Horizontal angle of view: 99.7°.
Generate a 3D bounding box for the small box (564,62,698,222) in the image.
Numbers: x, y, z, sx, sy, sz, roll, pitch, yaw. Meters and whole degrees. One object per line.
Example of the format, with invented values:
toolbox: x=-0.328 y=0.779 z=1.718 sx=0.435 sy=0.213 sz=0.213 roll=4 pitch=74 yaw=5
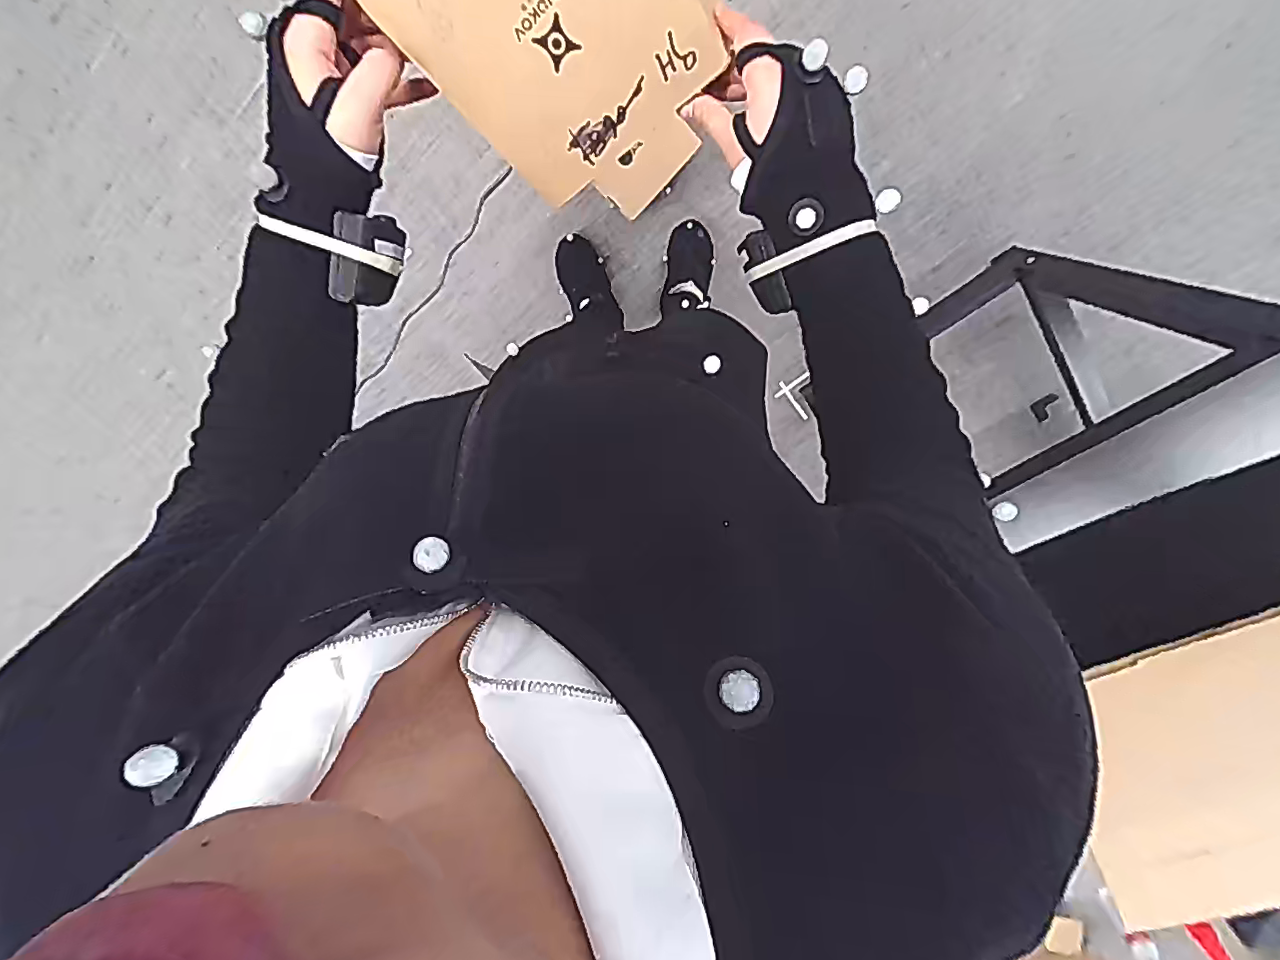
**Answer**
small box: x=-0.013 y=-0.606 z=0.991 sx=0.168 sy=0.176 sz=0.179 roll=41 pitch=112 yaw=-20
